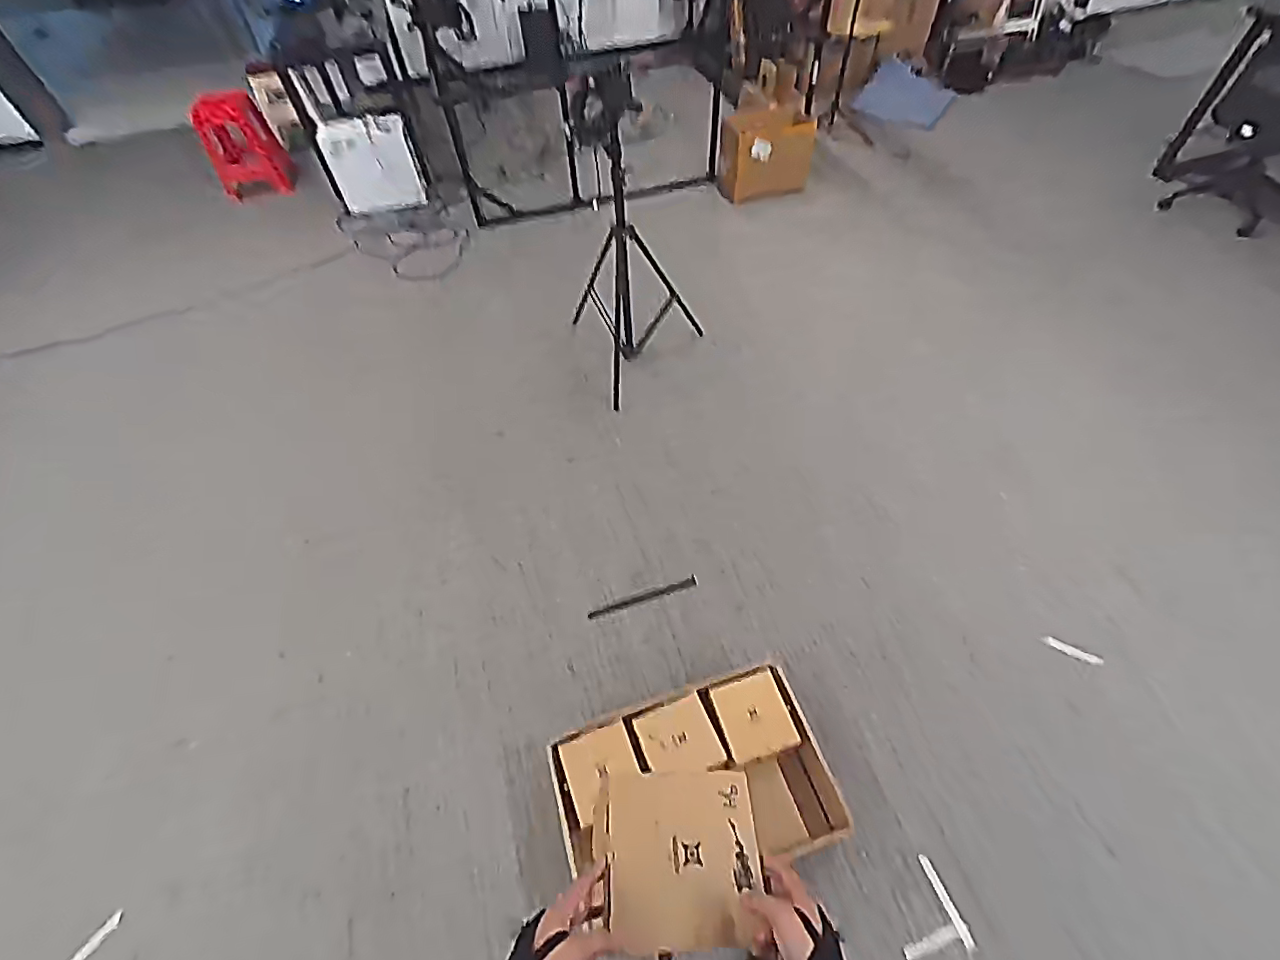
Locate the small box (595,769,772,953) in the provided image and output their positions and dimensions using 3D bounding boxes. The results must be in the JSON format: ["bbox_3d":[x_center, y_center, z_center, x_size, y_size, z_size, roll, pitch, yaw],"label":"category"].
[{"bbox_3d":[0.038,0.461,0.655,0.179,0.176,0.168,4,50,-8],"label":"small box"}]
